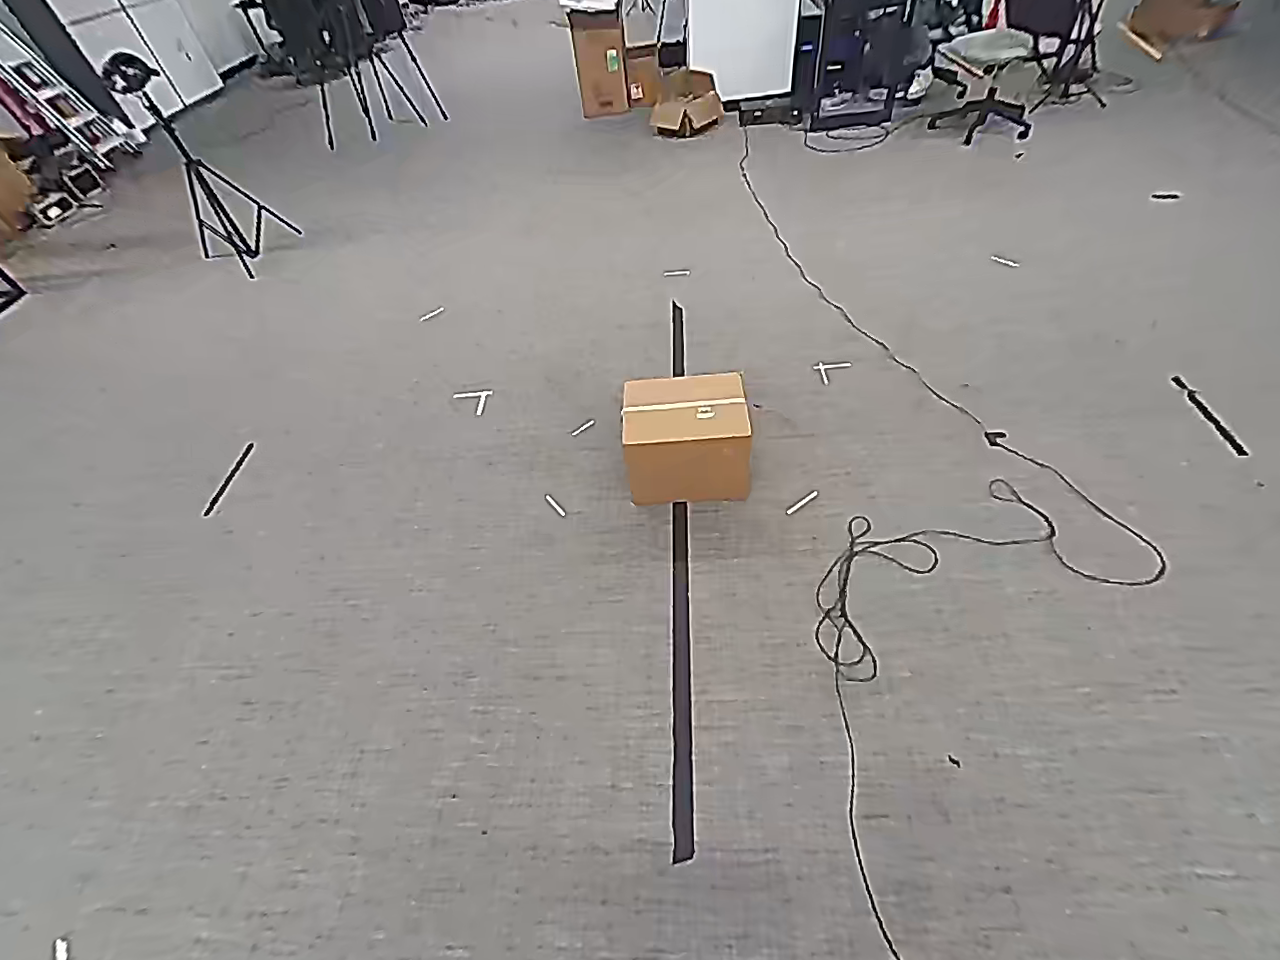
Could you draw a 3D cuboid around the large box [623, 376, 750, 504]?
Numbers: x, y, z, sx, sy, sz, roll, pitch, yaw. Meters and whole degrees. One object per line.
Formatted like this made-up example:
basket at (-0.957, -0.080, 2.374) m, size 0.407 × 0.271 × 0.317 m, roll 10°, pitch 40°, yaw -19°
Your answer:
large box at (0.155, -0.135, 1.887) m, size 0.408 × 0.320 × 0.320 m, roll -3°, pitch 49°, yaw 4°
